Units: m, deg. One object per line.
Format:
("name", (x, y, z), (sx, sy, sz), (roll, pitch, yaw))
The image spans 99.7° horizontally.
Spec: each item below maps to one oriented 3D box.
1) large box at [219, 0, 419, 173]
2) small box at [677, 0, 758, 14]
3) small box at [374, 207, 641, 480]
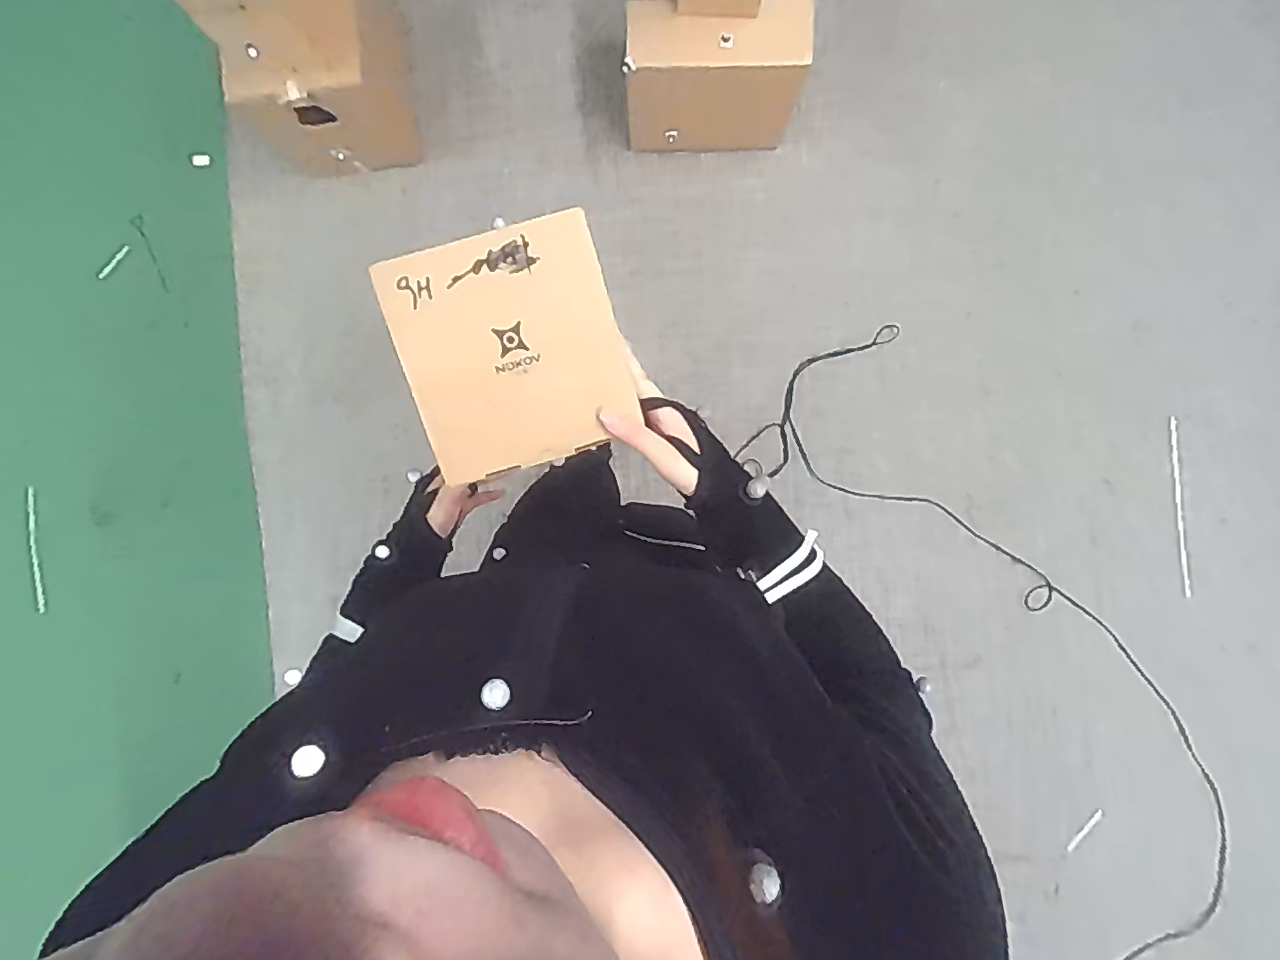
("large box", (-0.777, -1.054, 1.332), (0.320, 0.320, 0.408), (-6, 90, 1))
("small box", (0.169, -1.072, 1.068), (0.179, 0.176, 0.168), (4, 89, 1))
("small box", (-0.103, -0.117, 0.494), (0.168, 0.176, 0.179), (-16, 102, -3))
